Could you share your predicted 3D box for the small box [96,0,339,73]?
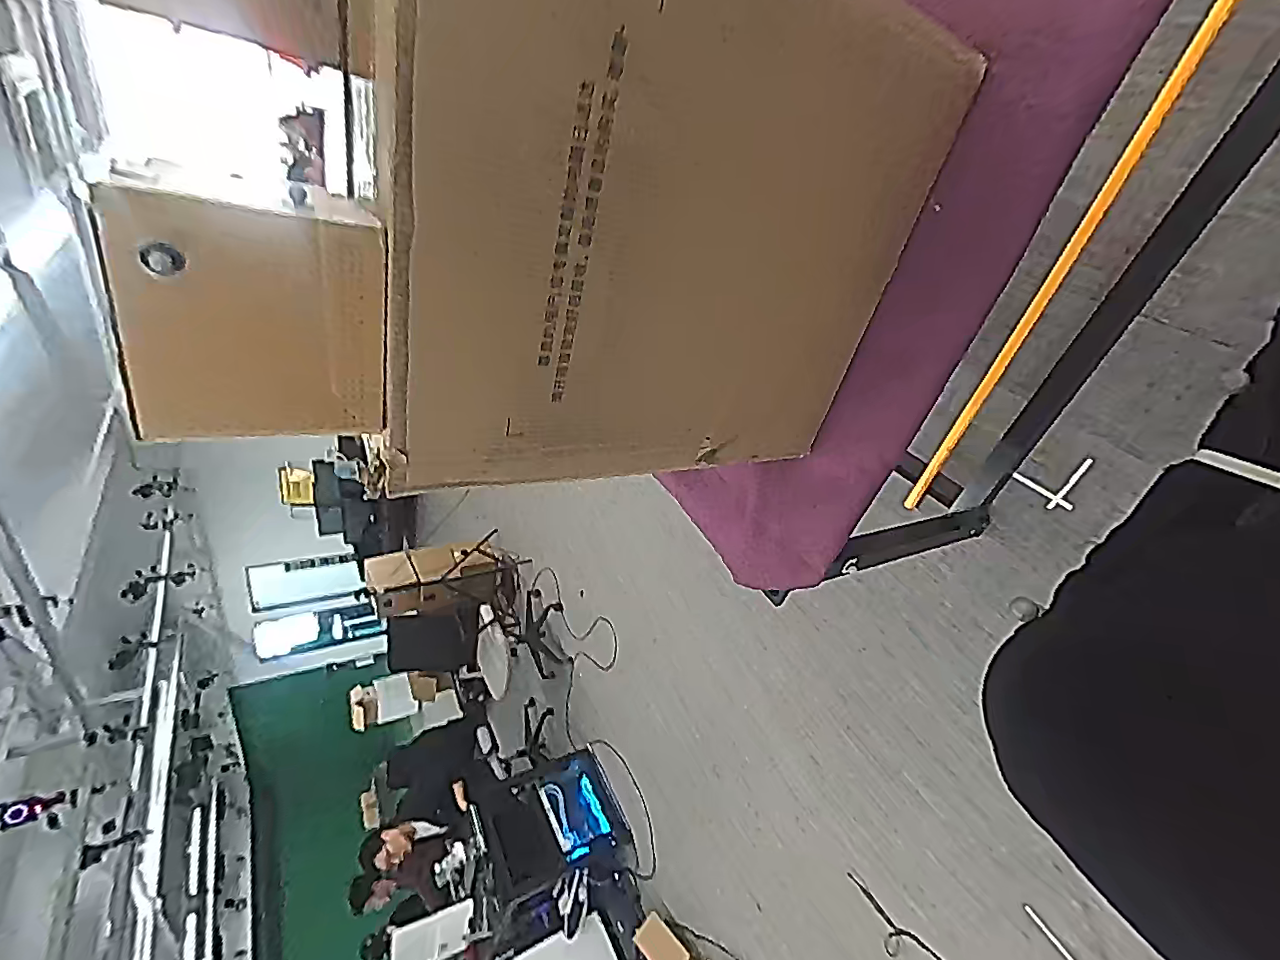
[{"bbox_3d":[-0.368,-0.484,0.474,0.179,0.176,0.168,50,135,41],"label":"small box"}]
